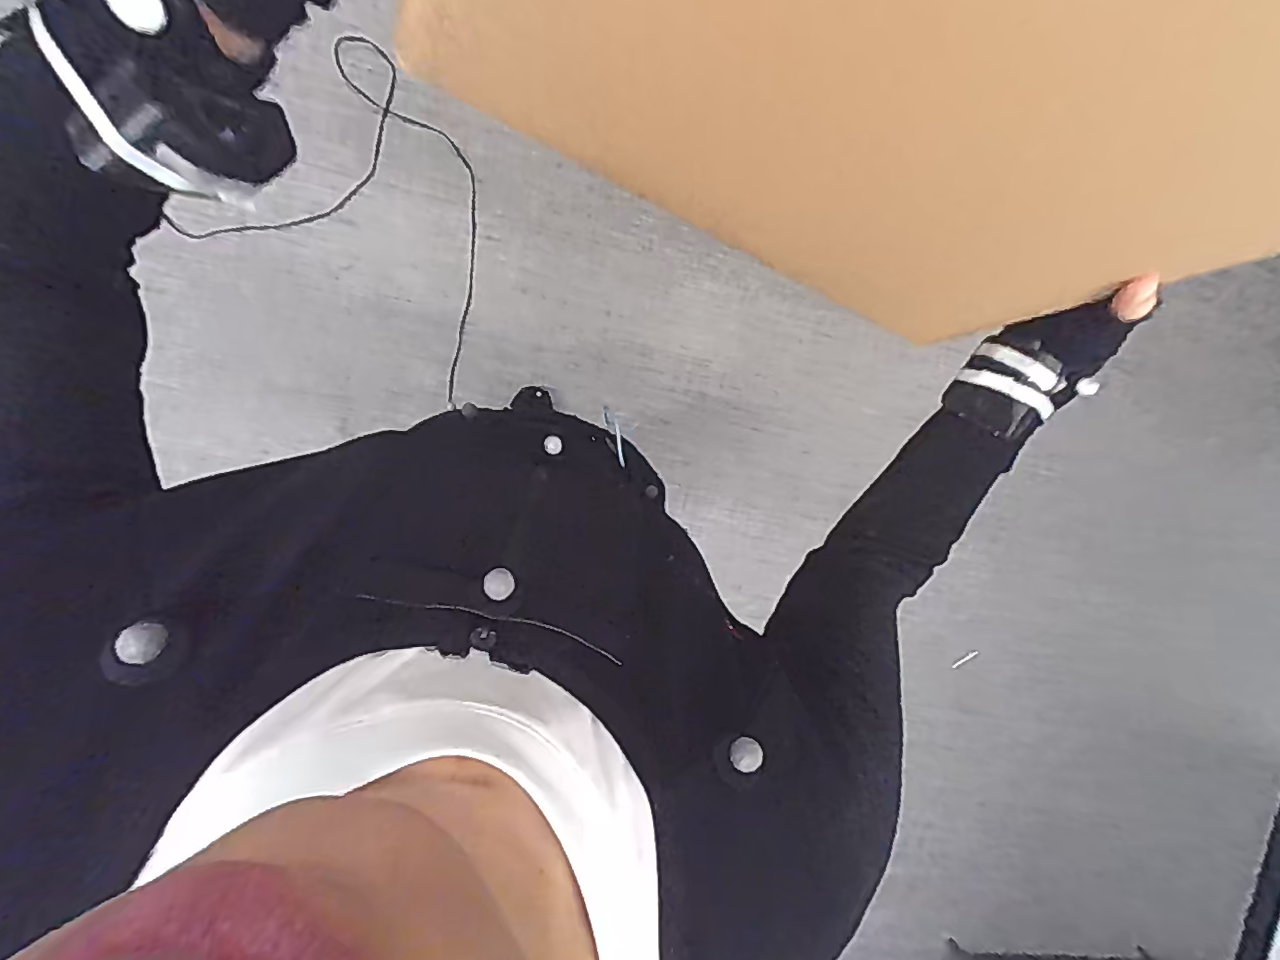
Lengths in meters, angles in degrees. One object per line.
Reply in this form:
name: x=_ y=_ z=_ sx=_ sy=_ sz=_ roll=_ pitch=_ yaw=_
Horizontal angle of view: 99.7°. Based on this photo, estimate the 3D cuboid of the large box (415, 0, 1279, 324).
large box: x=0.162 y=-0.310 z=0.229 sx=0.408 sy=0.320 sz=0.320 roll=12 pitch=82 yaw=-33
